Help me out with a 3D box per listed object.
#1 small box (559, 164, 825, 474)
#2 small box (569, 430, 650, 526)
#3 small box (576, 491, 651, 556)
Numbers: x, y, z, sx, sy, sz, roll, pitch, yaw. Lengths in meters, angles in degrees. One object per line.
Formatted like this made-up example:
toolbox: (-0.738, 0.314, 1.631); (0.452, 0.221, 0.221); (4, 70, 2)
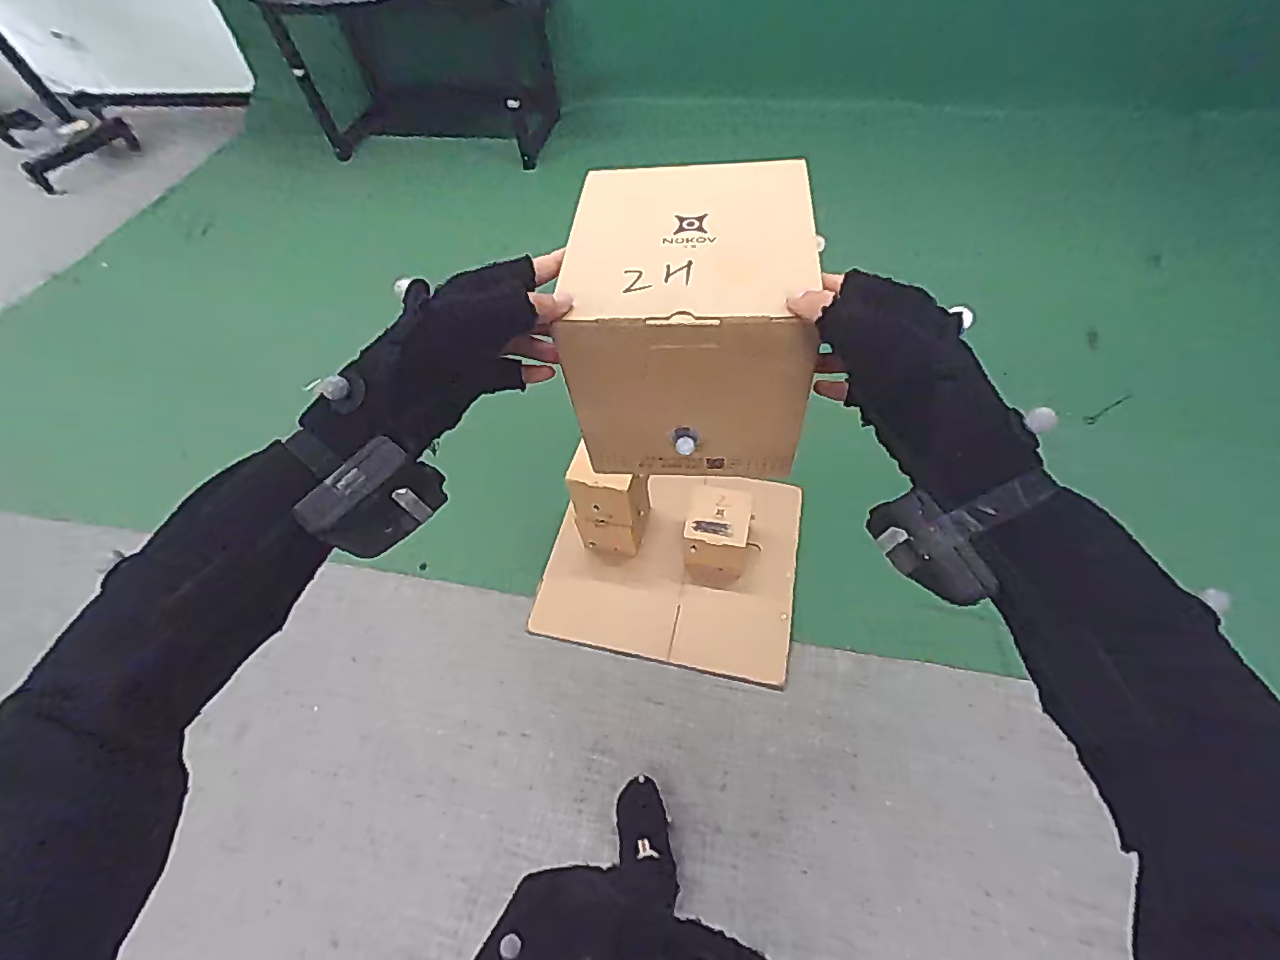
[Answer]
small box: (0.045, -0.126, 0.438); (0.168, 0.176, 0.179); (2, 56, 9)
small box: (-0.073, -0.002, 1.433); (0.168, 0.176, 0.179); (11, 57, 12)
small box: (-0.069, 0.100, 1.560); (0.168, 0.176, 0.179); (10, 56, 12)
